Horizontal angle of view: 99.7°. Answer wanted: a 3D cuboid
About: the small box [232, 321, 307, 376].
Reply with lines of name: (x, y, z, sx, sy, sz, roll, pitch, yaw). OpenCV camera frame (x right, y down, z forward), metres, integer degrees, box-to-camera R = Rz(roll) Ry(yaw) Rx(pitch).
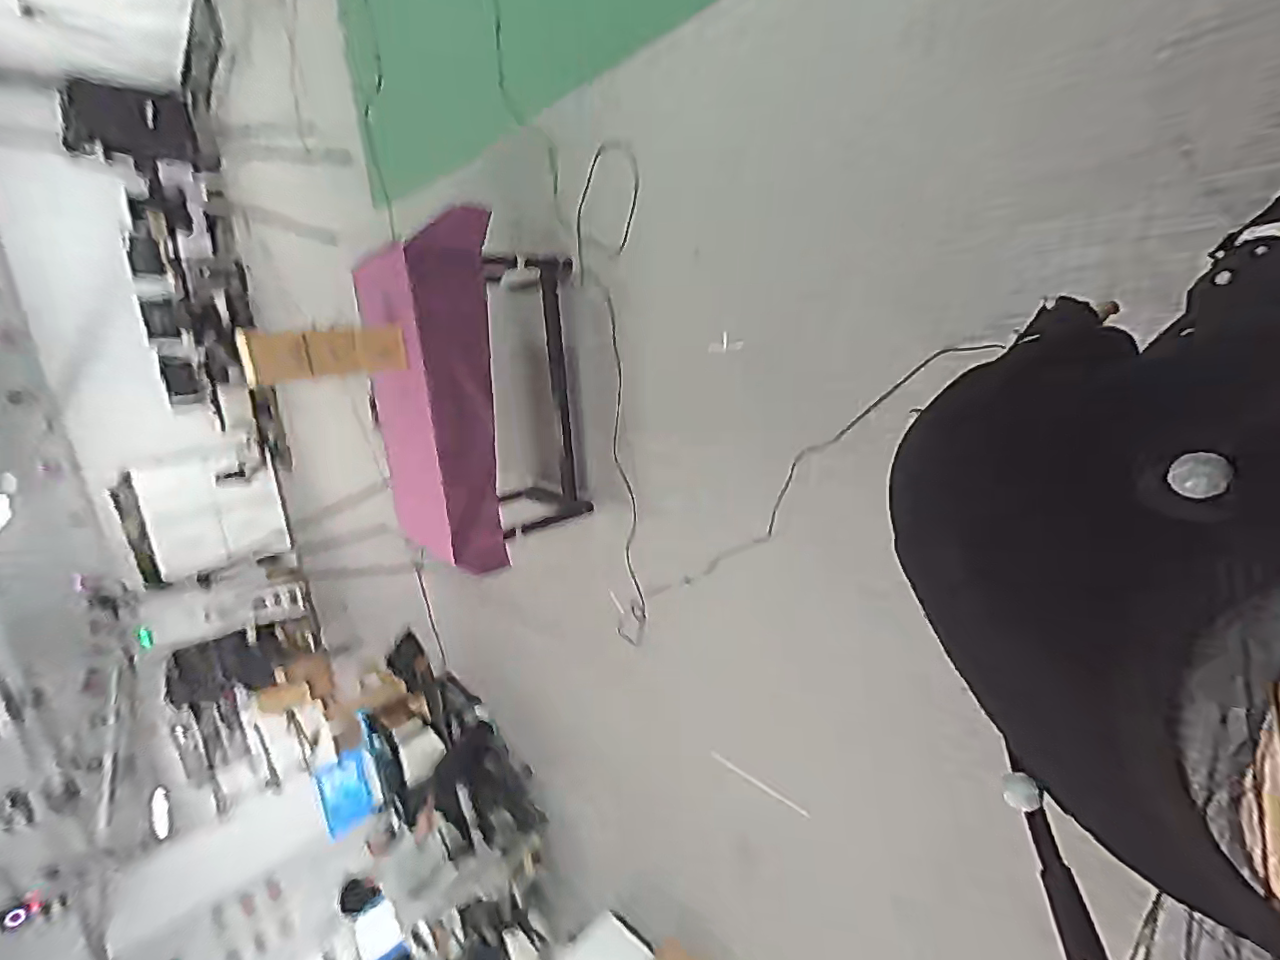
small box: (-1.251, -0.447, 1.831, 0.179, 0.176, 0.168, 14, 114, 45)

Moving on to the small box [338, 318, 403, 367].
small box: (-1.013, -0.523, 2.045, 0.179, 0.176, 0.168, 16, 115, 45)
